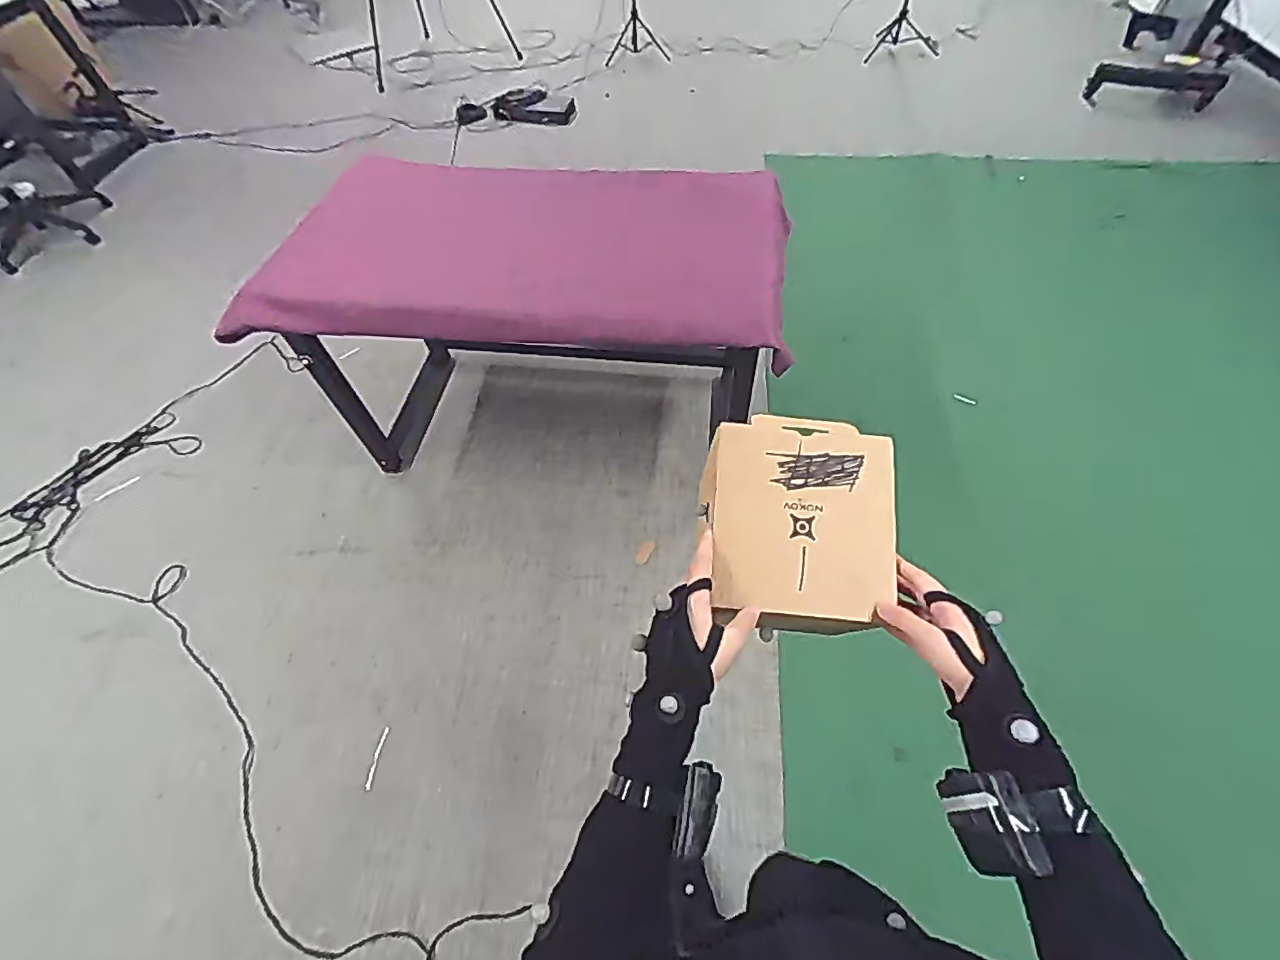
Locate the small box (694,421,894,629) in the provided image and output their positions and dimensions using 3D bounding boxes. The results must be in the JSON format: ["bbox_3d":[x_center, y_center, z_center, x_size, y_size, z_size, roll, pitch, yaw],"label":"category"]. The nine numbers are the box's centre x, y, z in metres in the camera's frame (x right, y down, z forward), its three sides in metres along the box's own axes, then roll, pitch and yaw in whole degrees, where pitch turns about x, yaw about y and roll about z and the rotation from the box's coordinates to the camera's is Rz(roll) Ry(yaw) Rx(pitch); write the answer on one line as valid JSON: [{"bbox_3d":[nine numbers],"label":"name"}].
[{"bbox_3d":[0.148,0.056,0.573,0.168,0.176,0.179,5,72,3],"label":"small box"}]
